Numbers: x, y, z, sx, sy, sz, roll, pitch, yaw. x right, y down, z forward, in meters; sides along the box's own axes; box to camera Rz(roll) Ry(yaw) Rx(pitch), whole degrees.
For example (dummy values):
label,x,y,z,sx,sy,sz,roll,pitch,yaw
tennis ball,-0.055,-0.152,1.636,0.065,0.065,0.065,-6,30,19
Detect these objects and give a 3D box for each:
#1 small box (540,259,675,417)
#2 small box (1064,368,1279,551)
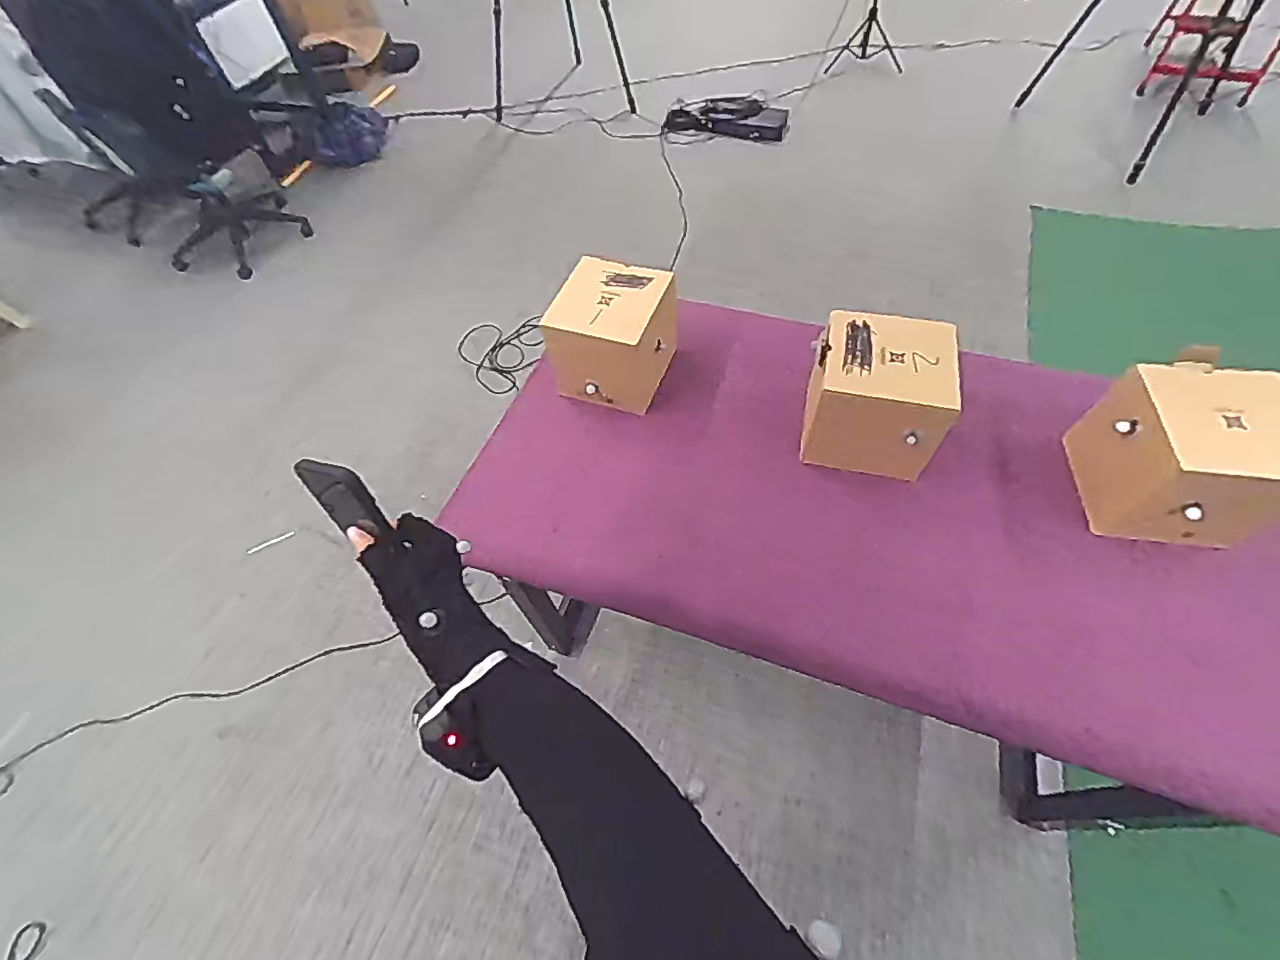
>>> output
label,x,y,z,sx,sy,sz,roll,pitch,yaw
small box,-0.045,-0.238,0.916,0.168,0.176,0.179,16,61,15
small box,0.714,-0.023,0.718,0.168,0.176,0.179,6,56,9
